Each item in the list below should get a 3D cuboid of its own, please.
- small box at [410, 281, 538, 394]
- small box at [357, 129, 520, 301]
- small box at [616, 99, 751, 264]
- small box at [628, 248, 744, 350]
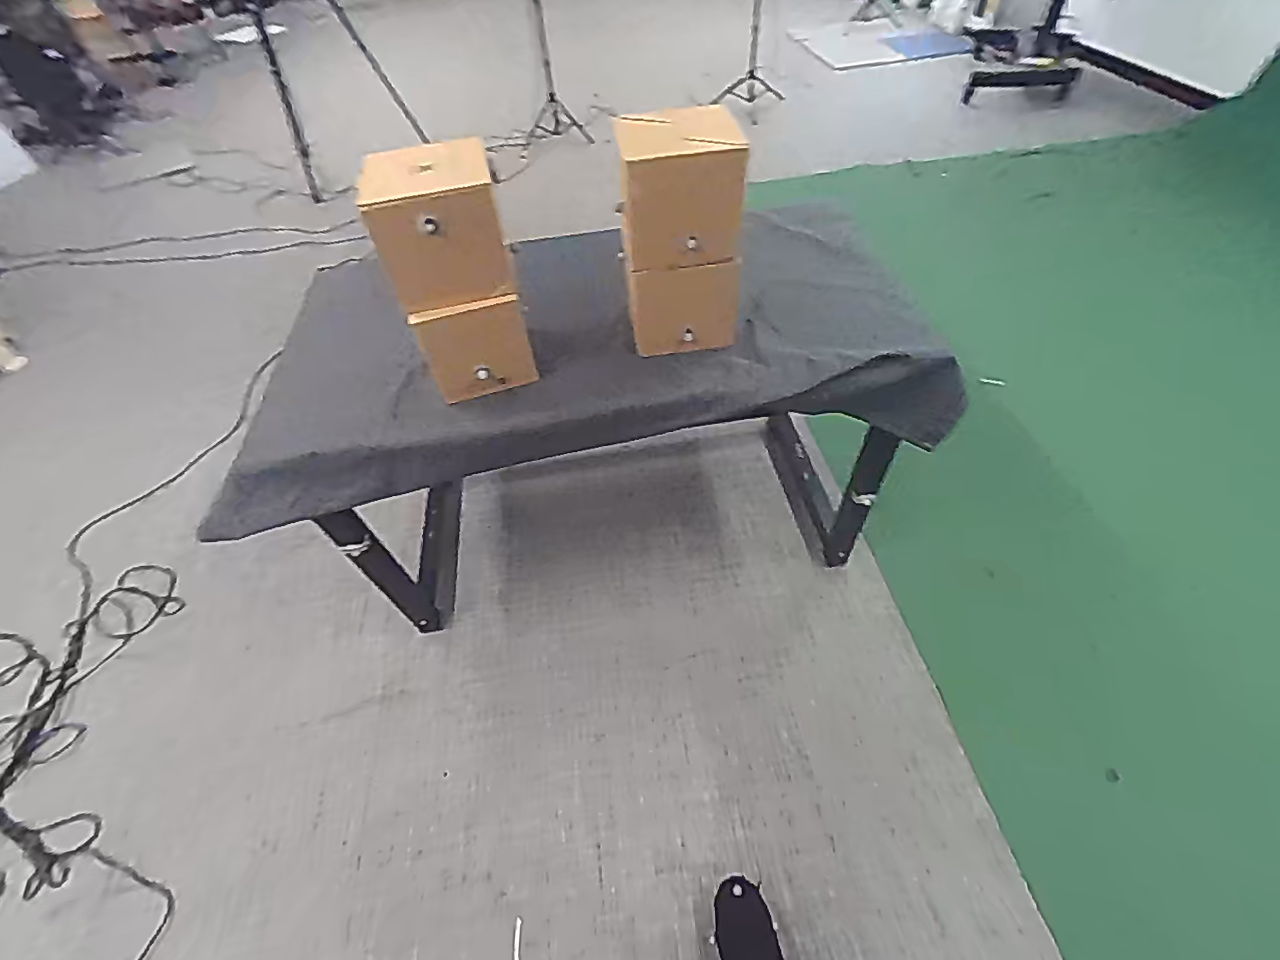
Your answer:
[{"bbox_3d":[-0.282,-0.277,0.924,0.168,0.176,0.179,-16,53,-8],"label":"small box"},{"bbox_3d":[-0.290,-0.389,0.806,0.179,0.176,0.168,-12,54,-6],"label":"small box"},{"bbox_3d":[0.060,-0.458,0.827,0.179,0.176,0.168,-7,52,-1],"label":"small box"},{"bbox_3d":[0.073,-0.353,0.958,0.179,0.176,0.168,-7,52,-2],"label":"small box"}]
